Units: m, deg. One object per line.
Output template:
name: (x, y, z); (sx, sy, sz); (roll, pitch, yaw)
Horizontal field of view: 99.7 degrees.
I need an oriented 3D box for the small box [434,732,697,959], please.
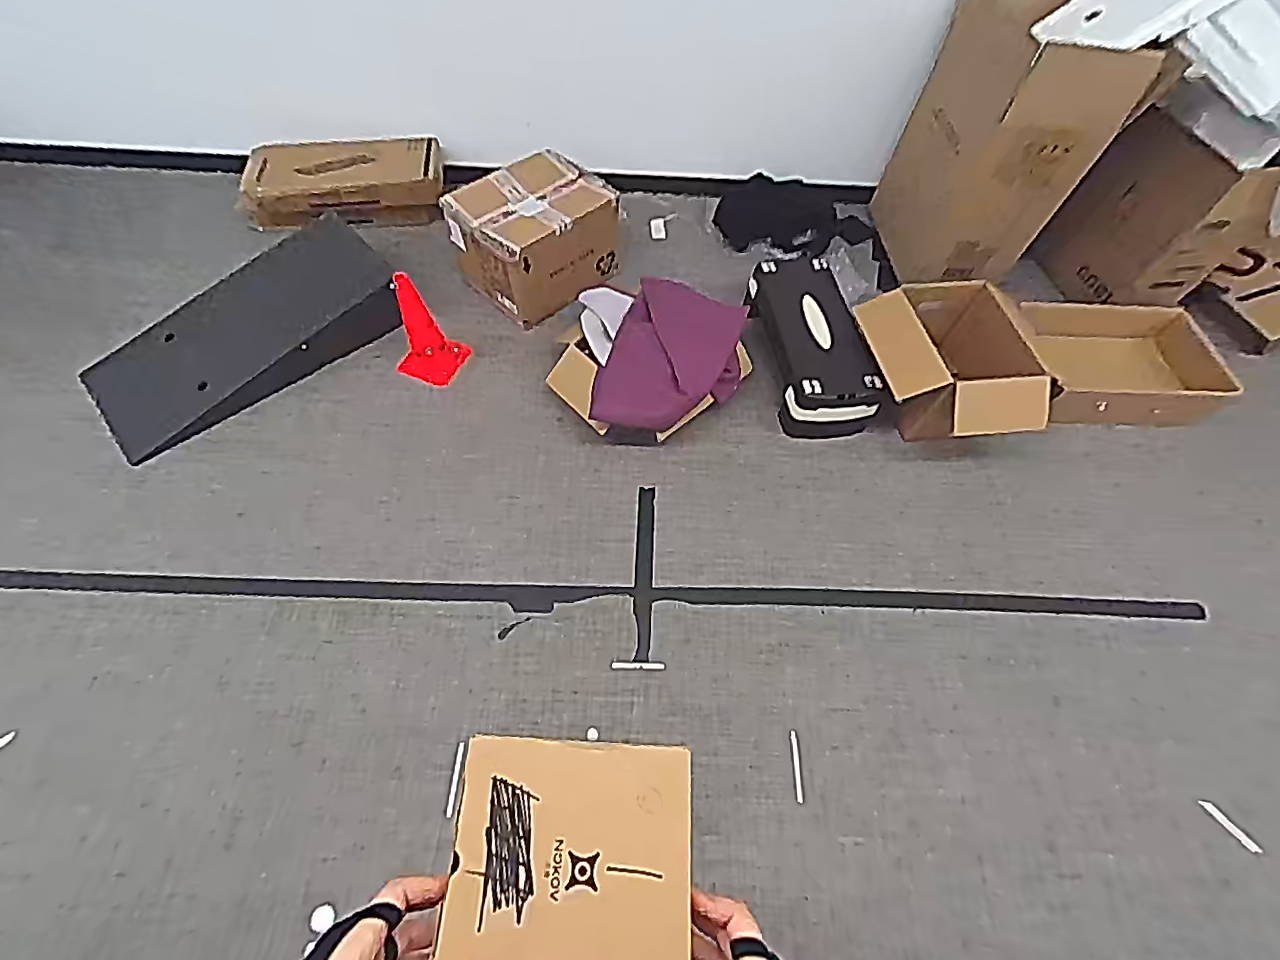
small box: (-0.051, 0.313, 0.451); (0.179, 0.176, 0.168); (5, 61, -3)
